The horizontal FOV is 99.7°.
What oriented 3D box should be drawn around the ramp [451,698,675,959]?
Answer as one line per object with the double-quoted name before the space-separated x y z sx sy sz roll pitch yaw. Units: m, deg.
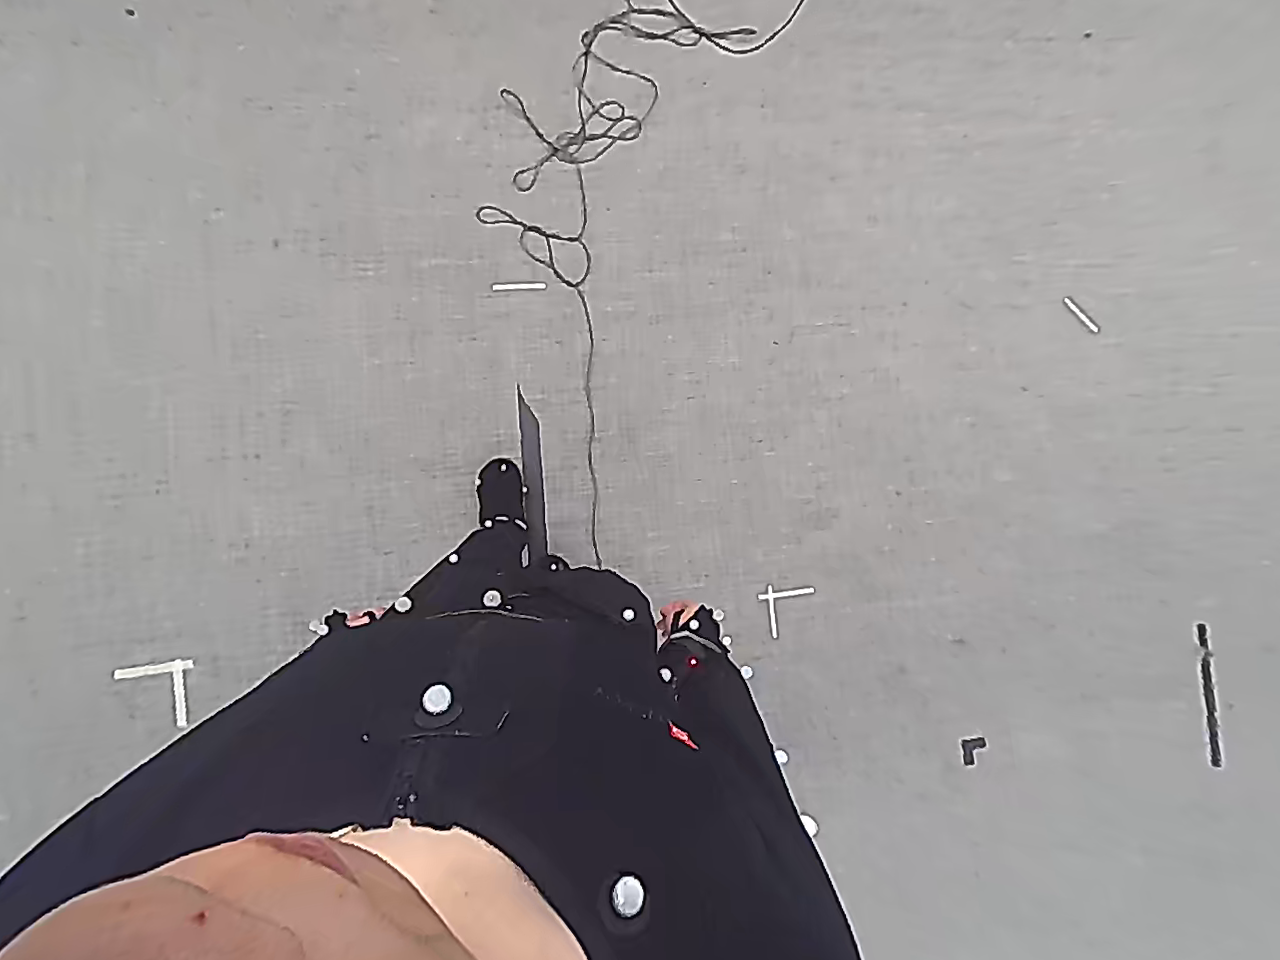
"ramp" -0.169 1.050 1.217 0.509 0.206 0.991 -7 85 -4
